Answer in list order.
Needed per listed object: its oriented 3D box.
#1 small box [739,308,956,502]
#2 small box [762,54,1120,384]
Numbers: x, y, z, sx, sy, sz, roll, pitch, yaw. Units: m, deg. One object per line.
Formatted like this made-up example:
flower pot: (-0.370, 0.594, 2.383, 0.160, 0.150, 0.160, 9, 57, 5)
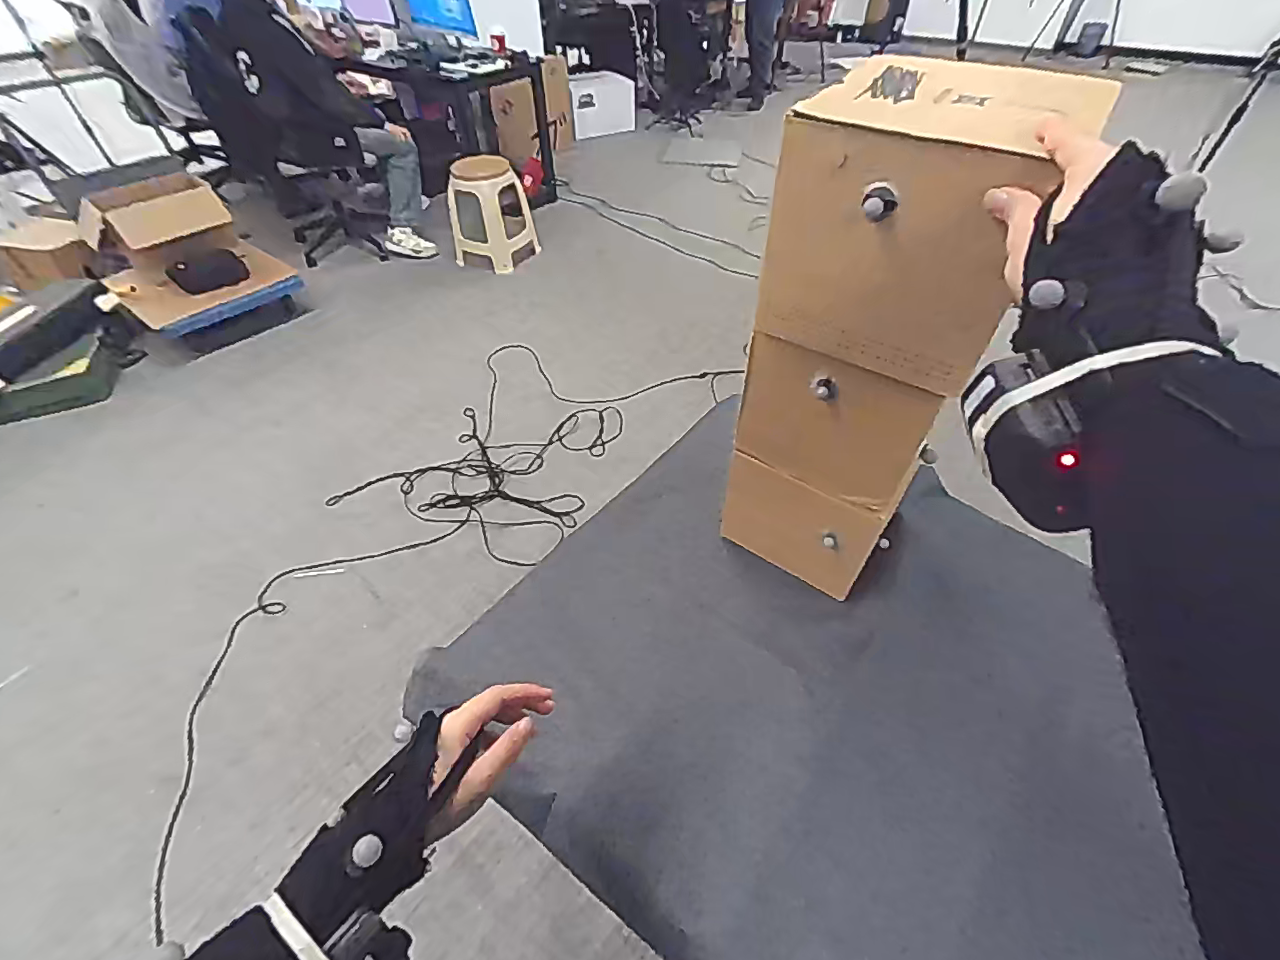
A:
small box: (0.219, -0.106, 0.557, 0.179, 0.176, 0.168, 29, 57, 22)
small box: (0.213, -0.202, 0.421, 0.179, 0.176, 0.168, 28, 57, 22)
